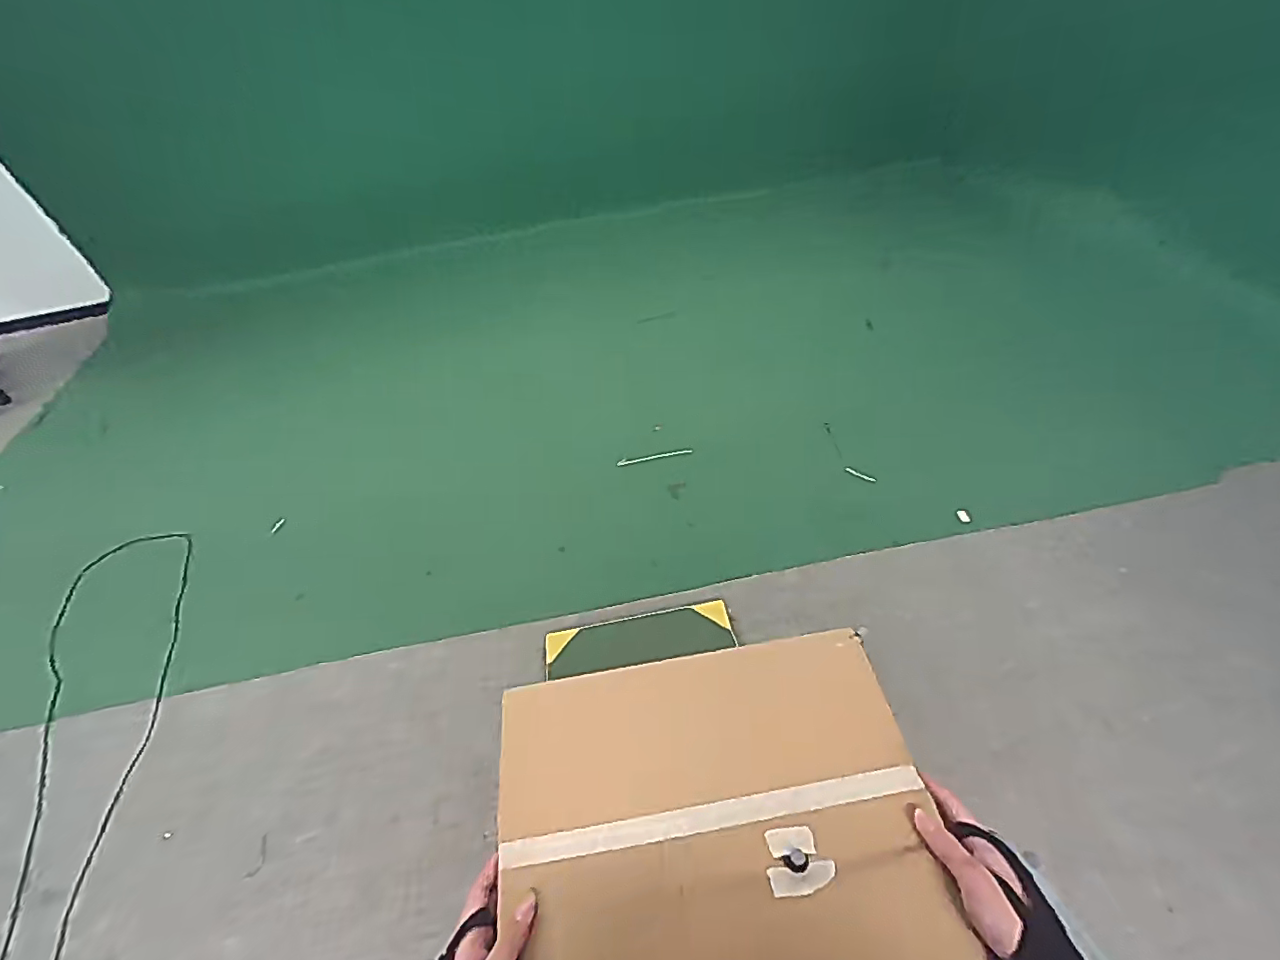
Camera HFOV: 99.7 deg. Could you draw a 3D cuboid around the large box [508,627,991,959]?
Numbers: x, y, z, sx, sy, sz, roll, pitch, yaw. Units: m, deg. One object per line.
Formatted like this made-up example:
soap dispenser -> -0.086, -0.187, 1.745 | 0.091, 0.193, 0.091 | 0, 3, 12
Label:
large box -> 0.080, 0.416, 0.635 | 0.408, 0.320, 0.320 | -10, 49, -2
